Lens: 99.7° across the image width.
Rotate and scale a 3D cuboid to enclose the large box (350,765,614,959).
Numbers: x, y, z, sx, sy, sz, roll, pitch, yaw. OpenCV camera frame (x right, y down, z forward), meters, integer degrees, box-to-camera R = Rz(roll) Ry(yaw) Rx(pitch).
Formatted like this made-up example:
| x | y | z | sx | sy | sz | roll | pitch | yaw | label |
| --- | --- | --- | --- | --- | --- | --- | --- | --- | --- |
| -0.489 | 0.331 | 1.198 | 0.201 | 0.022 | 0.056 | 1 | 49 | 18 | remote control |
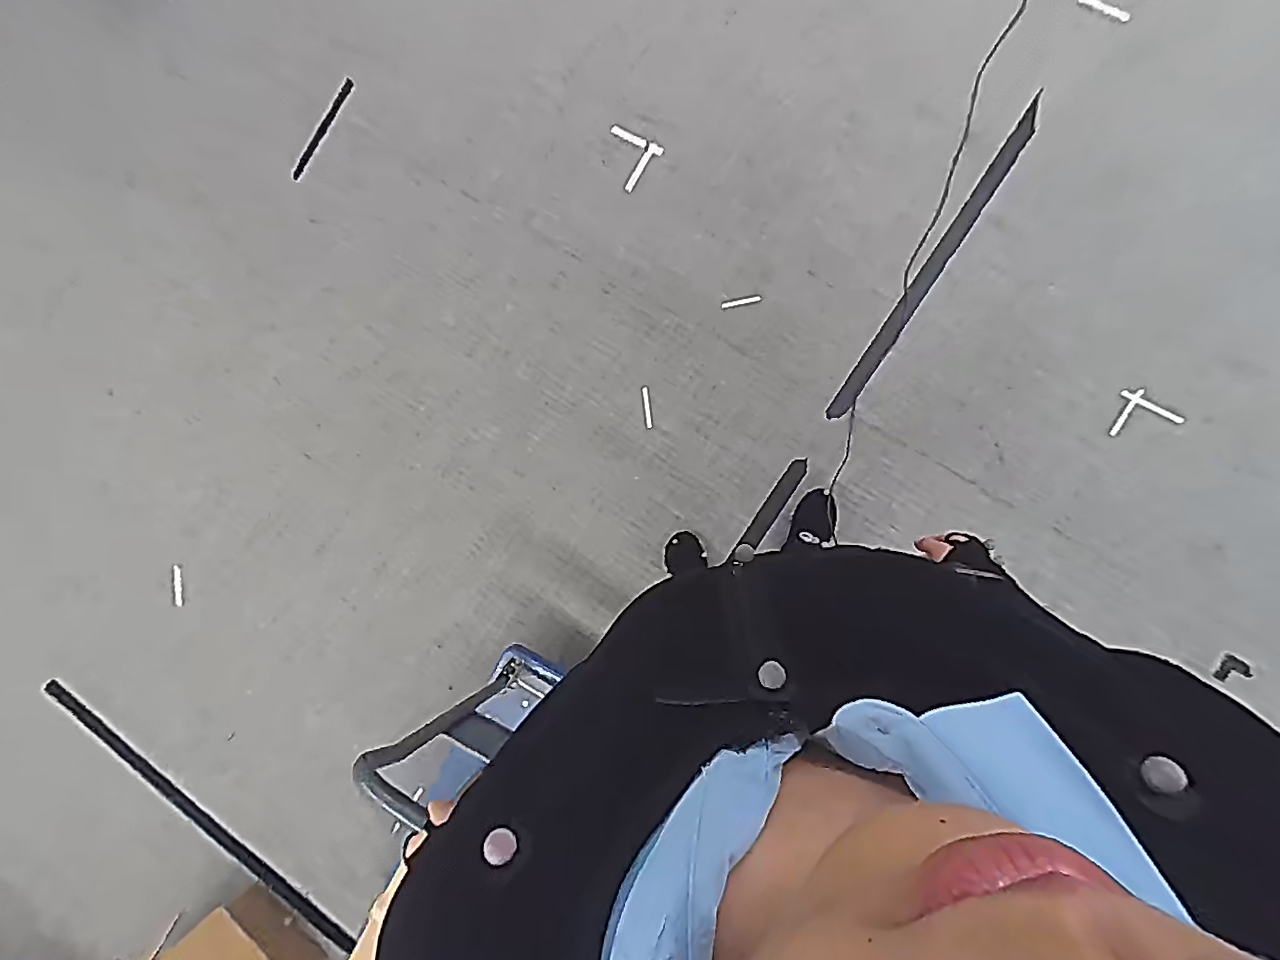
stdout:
| x | y | z | sx | sy | sz | roll | pitch | yaw | label |
| --- | --- | --- | --- | --- | --- | --- | --- | --- | --- |
| -0.321 | 0.924 | 1.193 | 0.408 | 0.320 | 0.320 | 28 | 91 | 8 | large box |
